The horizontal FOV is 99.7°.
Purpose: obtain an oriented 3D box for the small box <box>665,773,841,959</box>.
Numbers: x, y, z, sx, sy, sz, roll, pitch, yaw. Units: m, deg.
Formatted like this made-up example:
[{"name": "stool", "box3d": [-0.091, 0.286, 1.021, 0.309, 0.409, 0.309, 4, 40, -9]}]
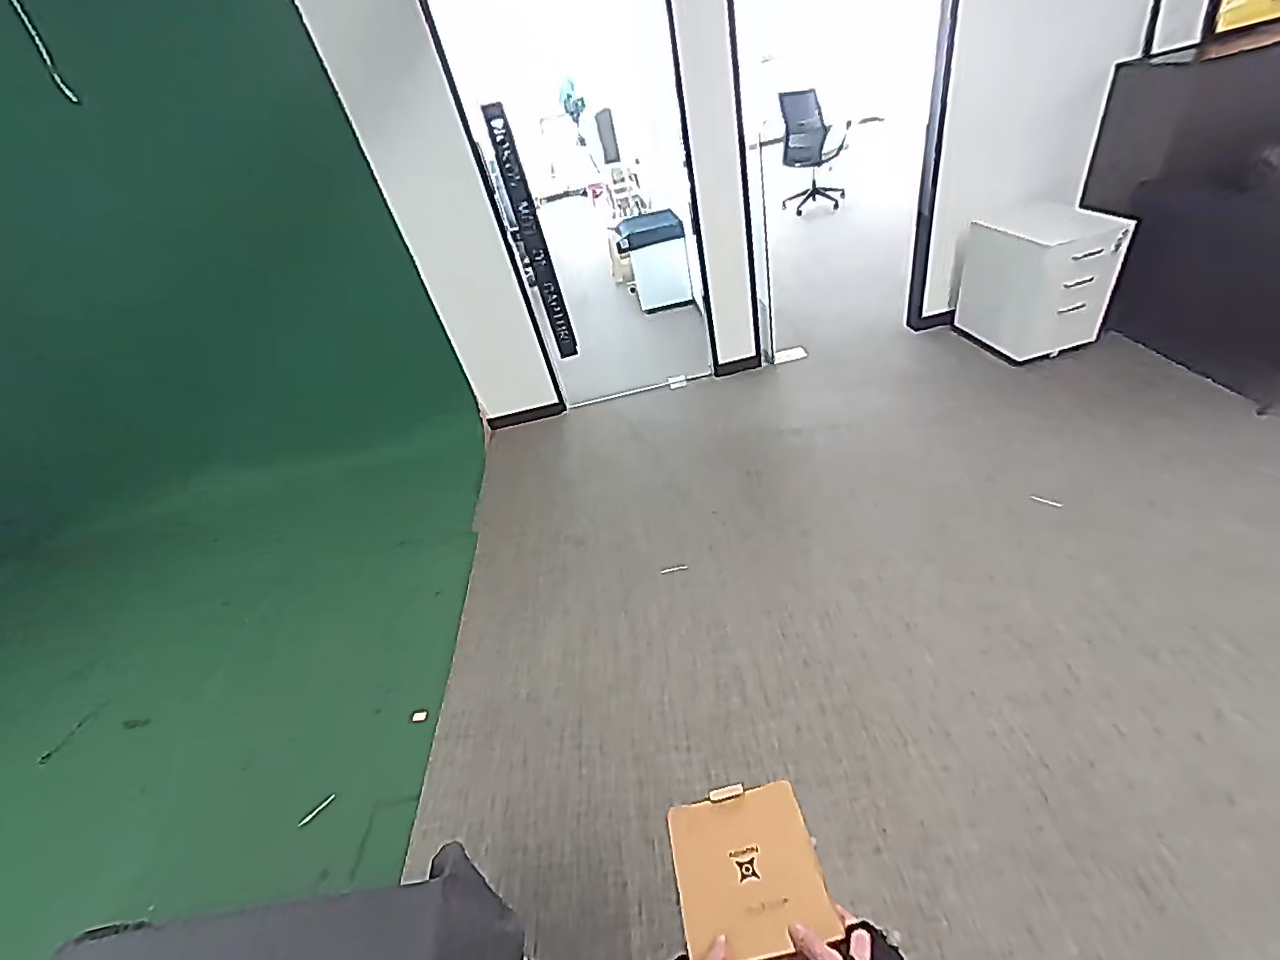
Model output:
[{"name": "small box", "box3d": [0.132, 0.500, 0.656, 0.168, 0.176, 0.179, -14, 28, 3]}]
